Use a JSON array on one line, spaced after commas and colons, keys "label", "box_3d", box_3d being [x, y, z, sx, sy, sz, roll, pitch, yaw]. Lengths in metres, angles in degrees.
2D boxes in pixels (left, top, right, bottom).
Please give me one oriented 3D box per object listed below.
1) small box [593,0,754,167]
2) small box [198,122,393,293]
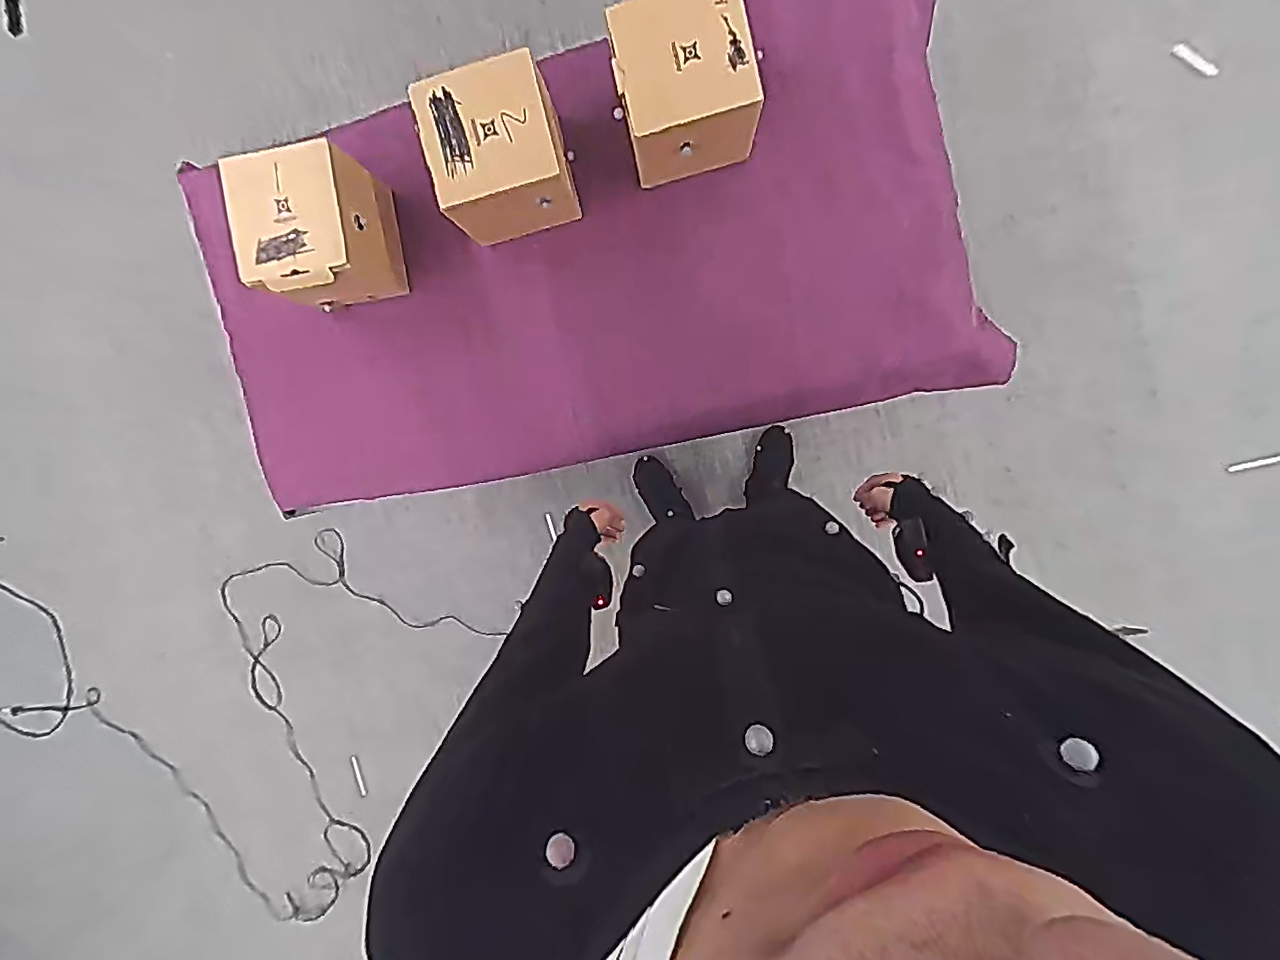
[{"label": "small box", "box_3d": [0.049, -0.569, 0.752, 0.179, 0.176, 0.168, -14, 98, 6]}, {"label": "small box", "box_3d": [-0.499, -0.390, 0.812, 0.168, 0.176, 0.179, -8, 96, 4]}]
